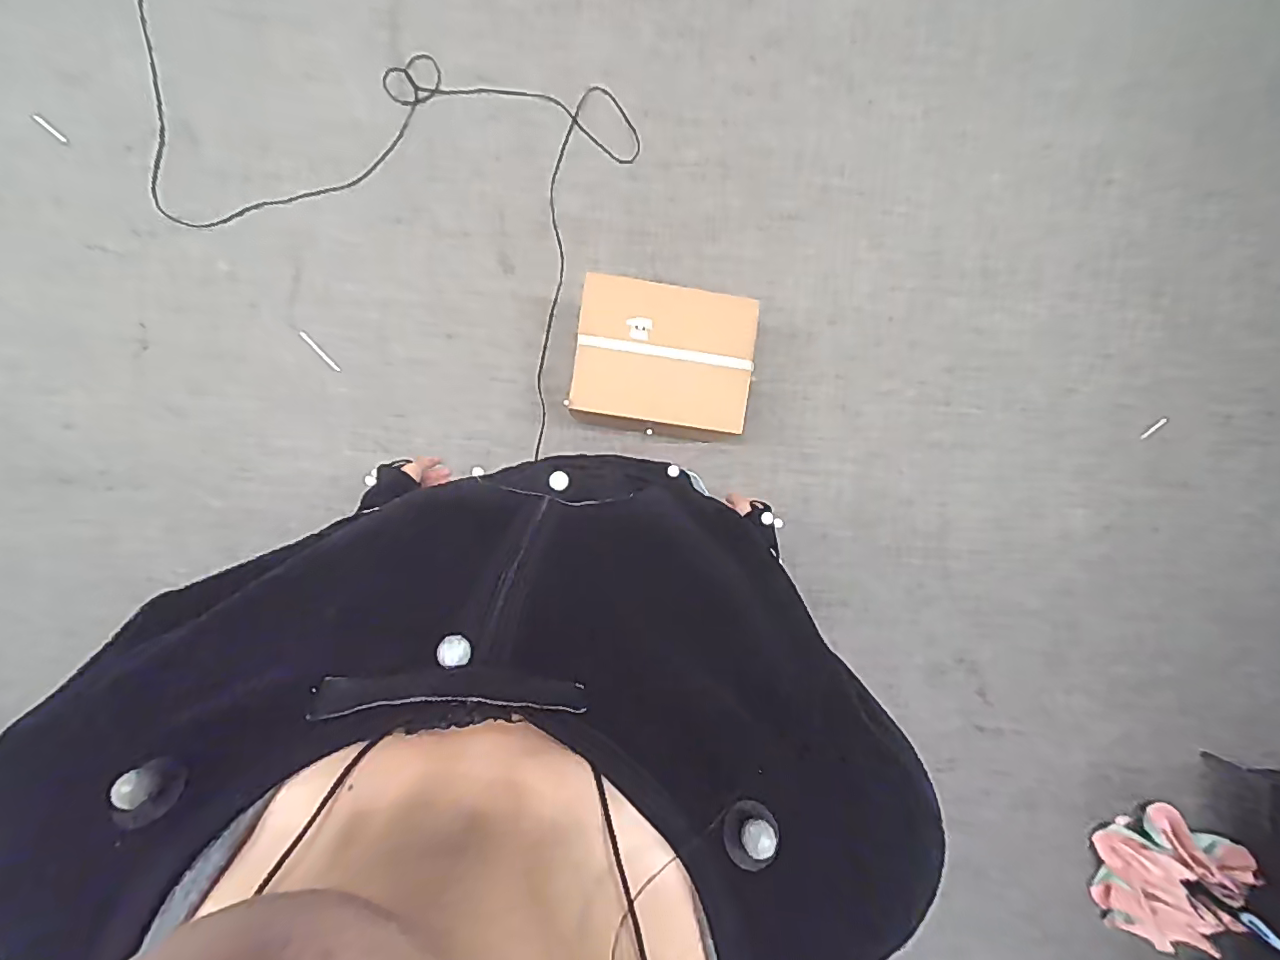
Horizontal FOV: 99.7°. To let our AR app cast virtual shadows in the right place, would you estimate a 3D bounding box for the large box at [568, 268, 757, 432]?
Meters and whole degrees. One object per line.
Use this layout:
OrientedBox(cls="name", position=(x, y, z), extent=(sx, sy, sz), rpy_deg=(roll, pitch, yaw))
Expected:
OrientedBox(cls="large box", position=(0.046, -0.305, 1.377), extent=(0.408, 0.320, 0.320), rpy_deg=(9, 90, -3))
